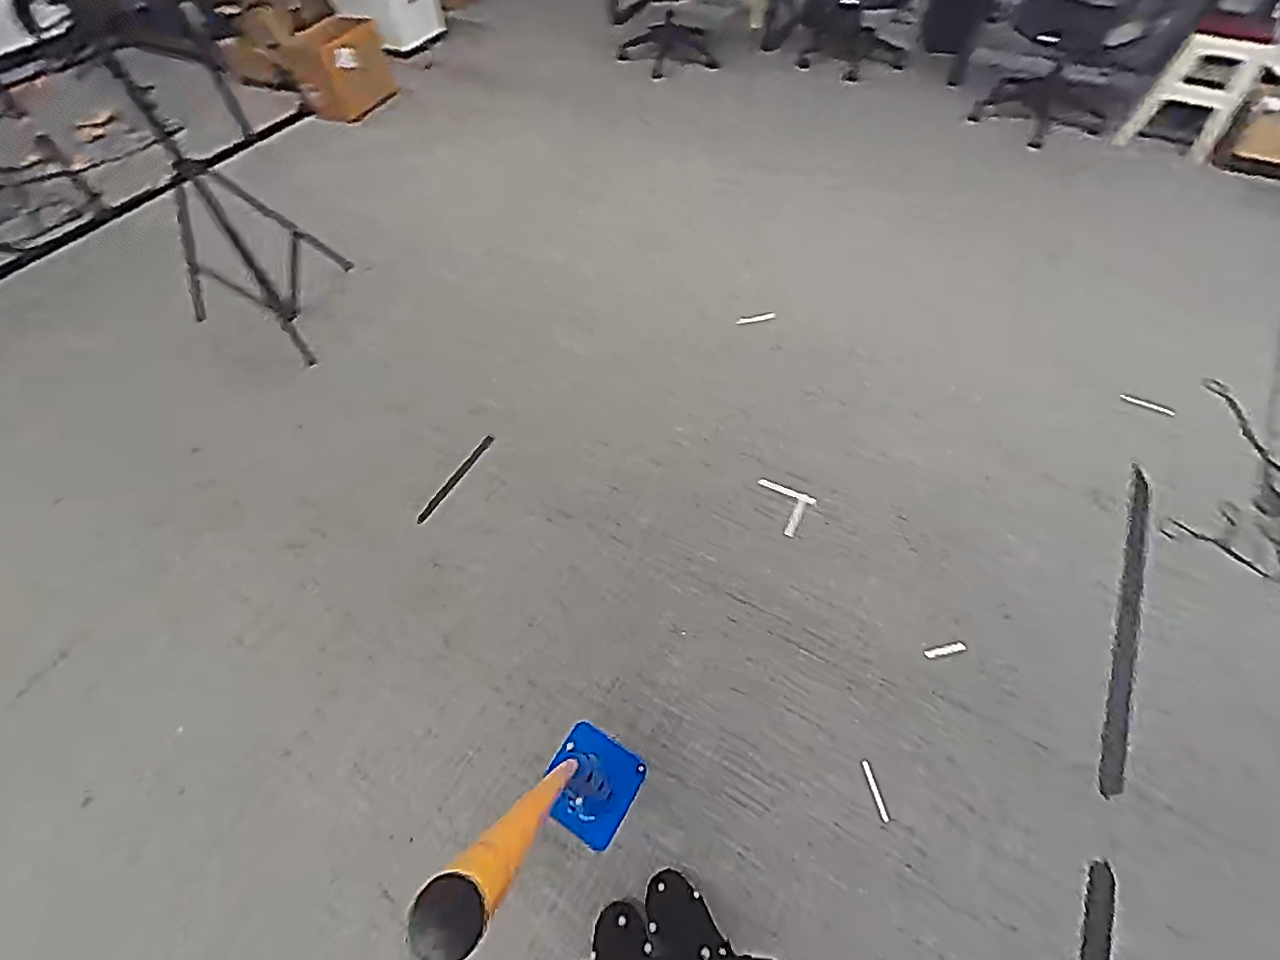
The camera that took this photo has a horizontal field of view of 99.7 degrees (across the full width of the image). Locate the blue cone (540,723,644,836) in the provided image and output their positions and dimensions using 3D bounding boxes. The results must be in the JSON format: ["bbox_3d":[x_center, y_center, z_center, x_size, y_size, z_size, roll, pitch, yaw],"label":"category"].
[{"bbox_3d":[-0.112,0.584,1.090,0.193,0.380,0.192,27,61,18],"label":"blue cone"}]
